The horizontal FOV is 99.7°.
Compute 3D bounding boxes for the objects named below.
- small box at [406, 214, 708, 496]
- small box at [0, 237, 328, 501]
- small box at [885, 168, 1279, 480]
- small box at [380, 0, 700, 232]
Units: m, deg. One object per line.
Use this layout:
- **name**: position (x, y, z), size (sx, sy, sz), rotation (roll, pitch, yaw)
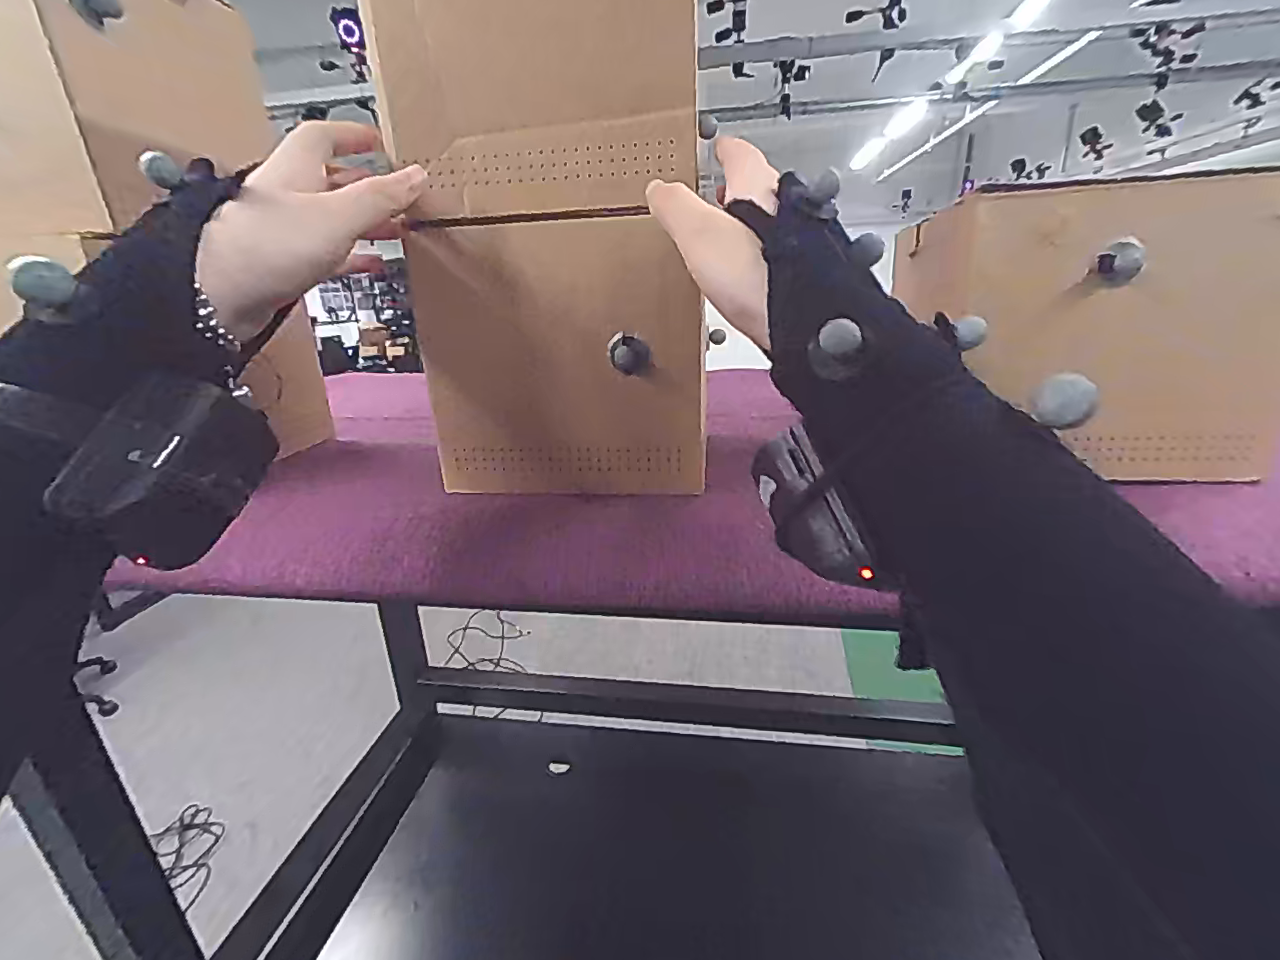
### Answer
- **small box**: position (-0.038, -0.091, 0.405), size (0.179, 0.176, 0.168), rotation (-1, 18, 8)
- **small box**: position (-0.380, -0.089, 0.424), size (0.168, 0.176, 0.179), rotation (1, 20, 6)
- **small box**: position (0.284, -0.100, 0.384), size (0.179, 0.176, 0.168), rotation (1, 17, 10)
- **small box**: position (-0.050, -0.247, 0.356), size (0.179, 0.176, 0.168), rotation (0, 18, 6)
